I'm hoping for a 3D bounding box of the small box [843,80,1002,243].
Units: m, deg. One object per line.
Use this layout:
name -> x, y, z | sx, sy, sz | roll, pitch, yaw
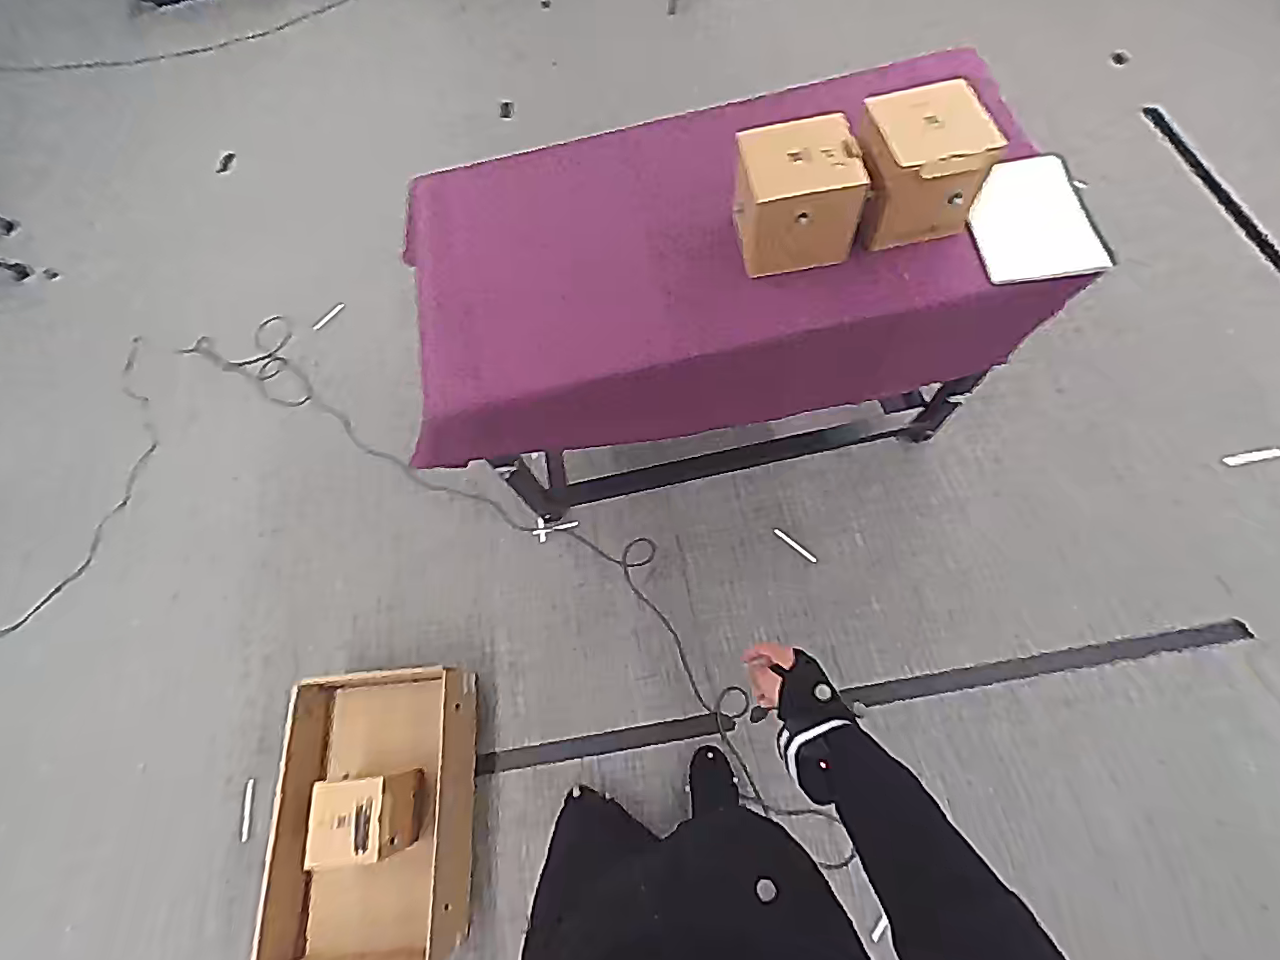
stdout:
small box -> 0.471, -0.535, 0.932 | 0.168, 0.176, 0.179 | -11, 67, 2
